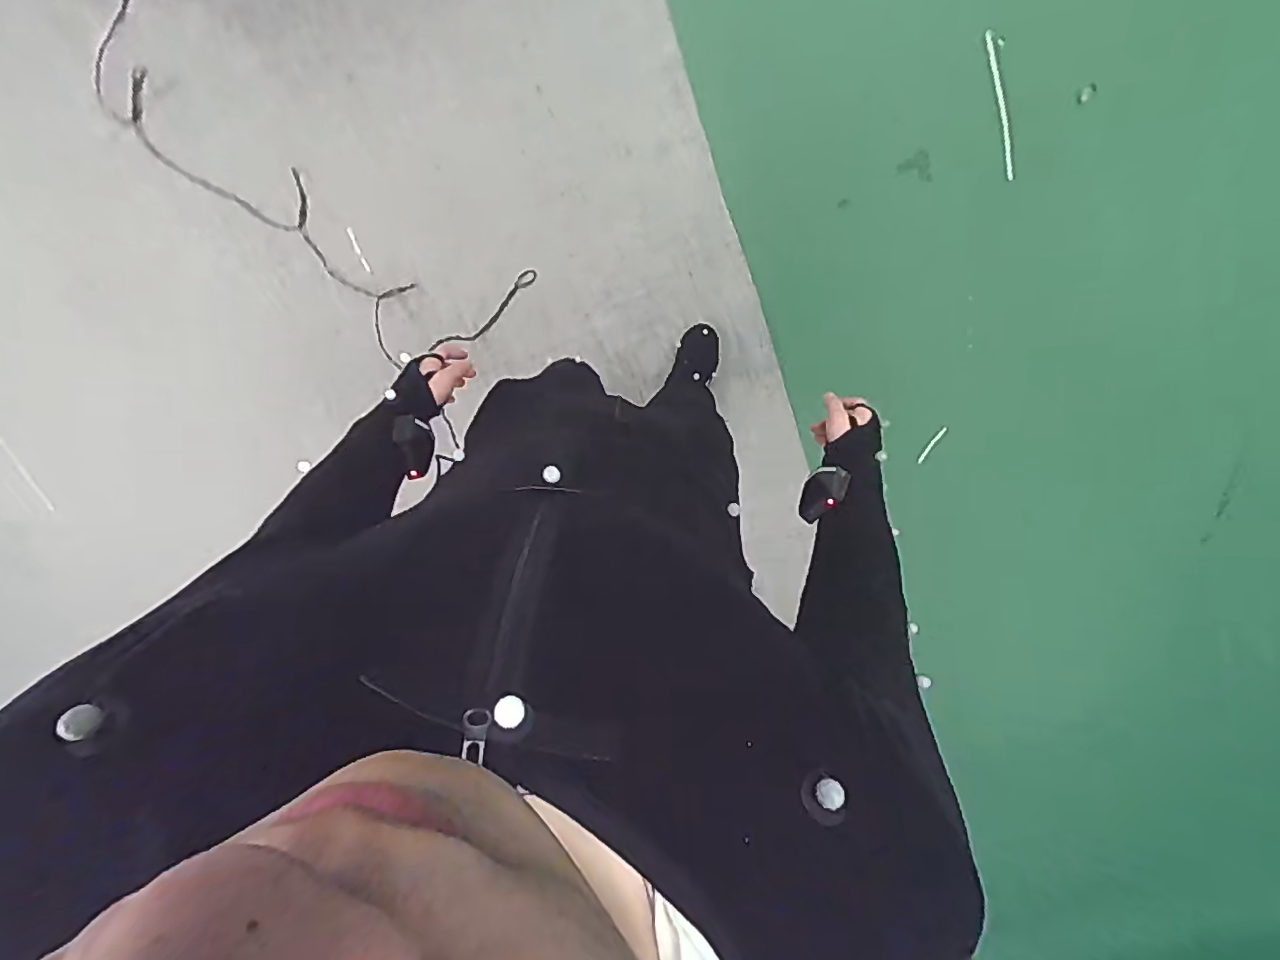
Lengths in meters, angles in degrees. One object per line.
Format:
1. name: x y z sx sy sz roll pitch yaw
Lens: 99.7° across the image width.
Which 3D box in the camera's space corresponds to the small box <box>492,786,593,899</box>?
1. small box: -0.216 0.847 1.261 0.179 0.176 0.168 -14 106 9
